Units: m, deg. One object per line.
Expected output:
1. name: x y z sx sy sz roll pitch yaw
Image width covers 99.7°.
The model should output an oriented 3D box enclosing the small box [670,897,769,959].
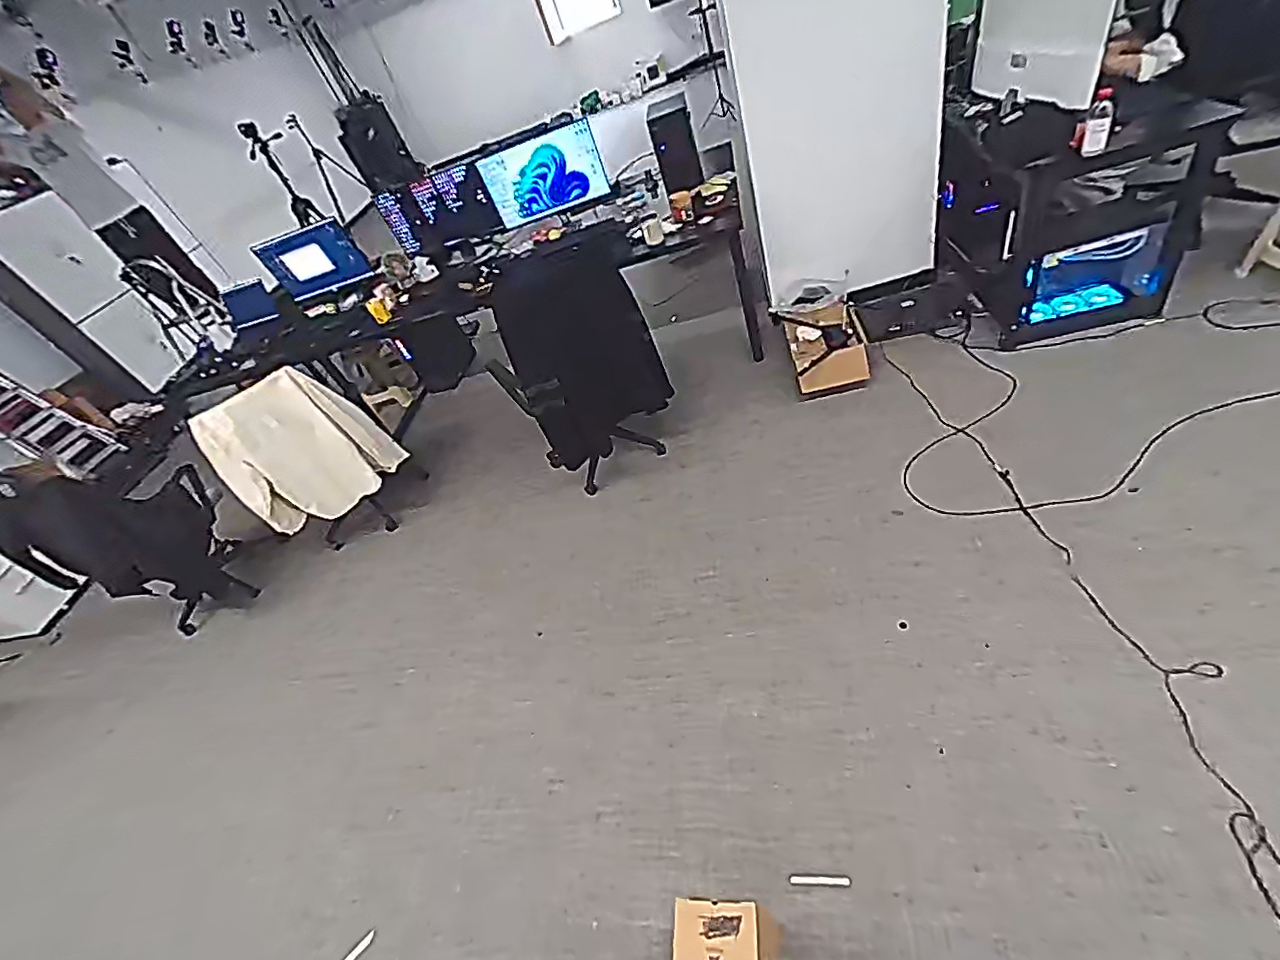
1. small box: 0.161 0.956 1.074 0.168 0.176 0.179 -10 45 17
